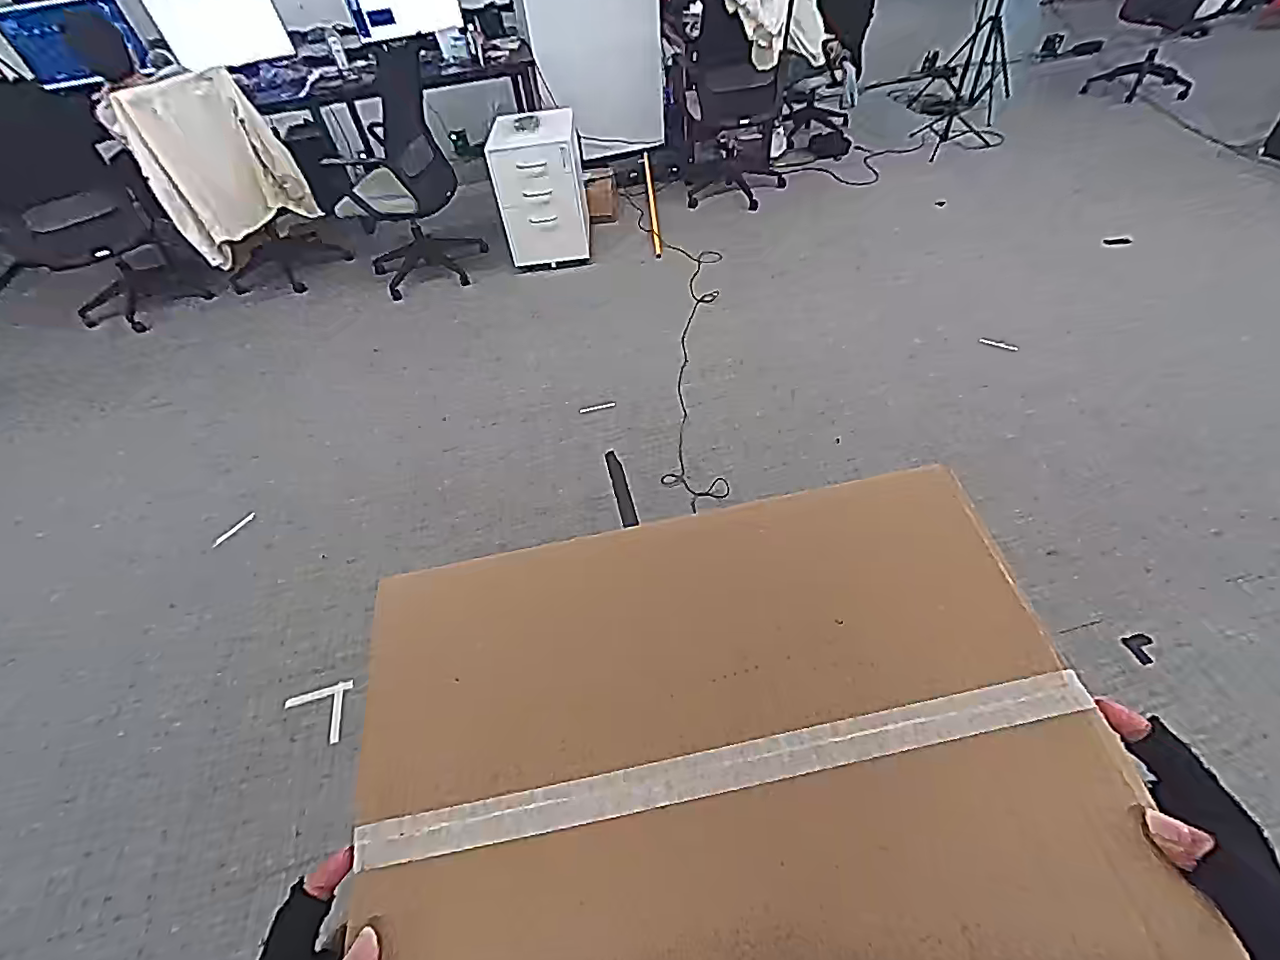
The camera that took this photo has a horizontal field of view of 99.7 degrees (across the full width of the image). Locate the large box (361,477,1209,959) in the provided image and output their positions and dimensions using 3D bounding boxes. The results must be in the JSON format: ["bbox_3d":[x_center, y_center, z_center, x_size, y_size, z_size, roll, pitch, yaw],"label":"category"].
[{"bbox_3d":[0.060,0.241,0.431,0.408,0.320,0.320,-12,56,-1],"label":"large box"}]
